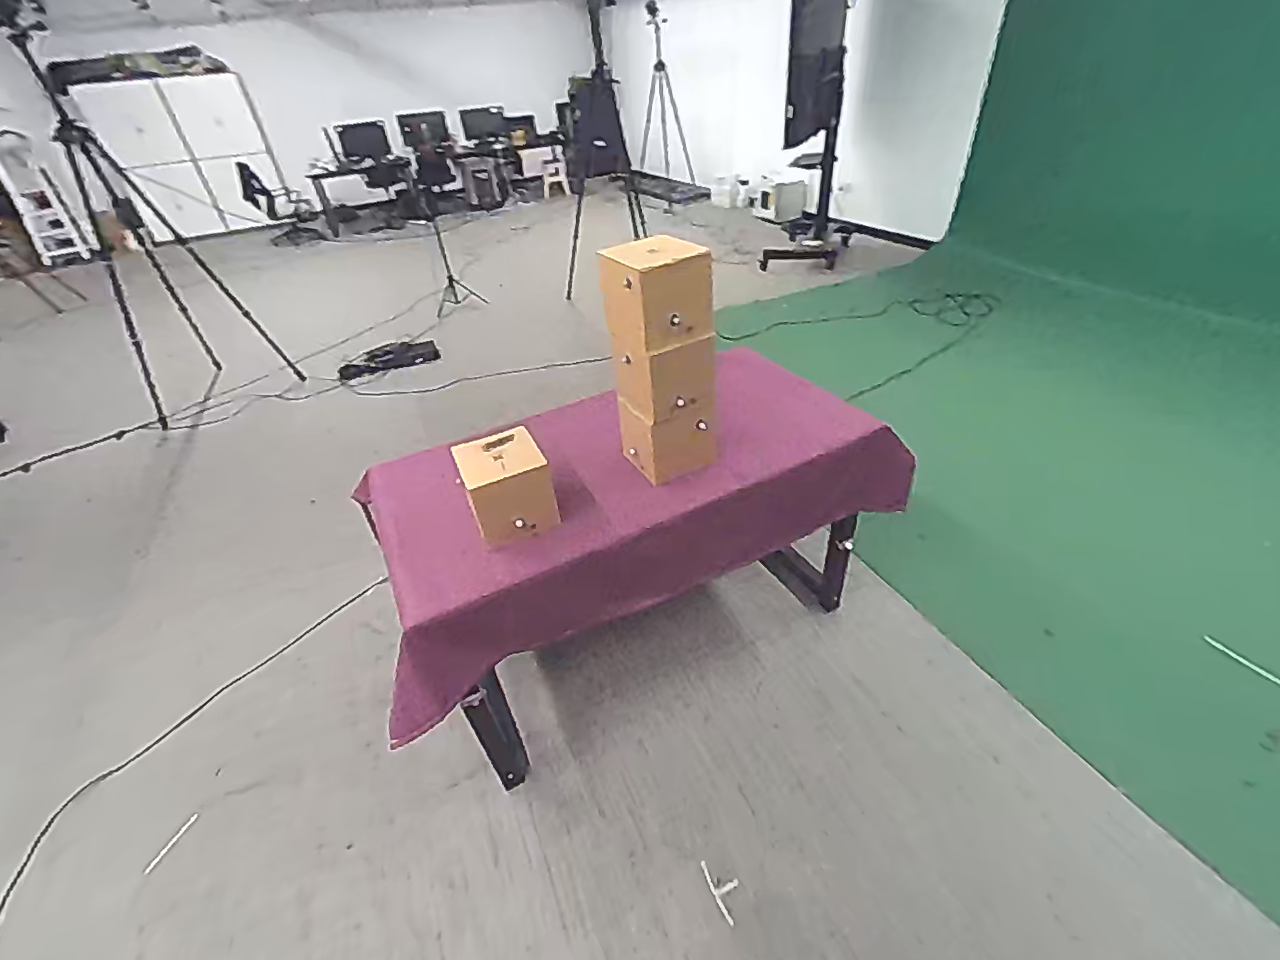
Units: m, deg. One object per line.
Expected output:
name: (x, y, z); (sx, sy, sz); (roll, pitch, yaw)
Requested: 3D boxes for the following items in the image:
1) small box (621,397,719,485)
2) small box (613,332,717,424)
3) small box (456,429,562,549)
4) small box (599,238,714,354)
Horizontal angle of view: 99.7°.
small box: (0.072, -0.117, 1.299); (0.179, 0.176, 0.168); (-22, 39, -19)
small box: (0.055, -0.247, 1.202); (0.168, 0.176, 0.179); (-23, 41, -19)
small box: (-0.282, 0.019, 1.175); (0.168, 0.176, 0.179); (-21, 40, -18)
small box: (0.034, -0.378, 1.107); (0.168, 0.176, 0.179); (-24, 41, -21)
